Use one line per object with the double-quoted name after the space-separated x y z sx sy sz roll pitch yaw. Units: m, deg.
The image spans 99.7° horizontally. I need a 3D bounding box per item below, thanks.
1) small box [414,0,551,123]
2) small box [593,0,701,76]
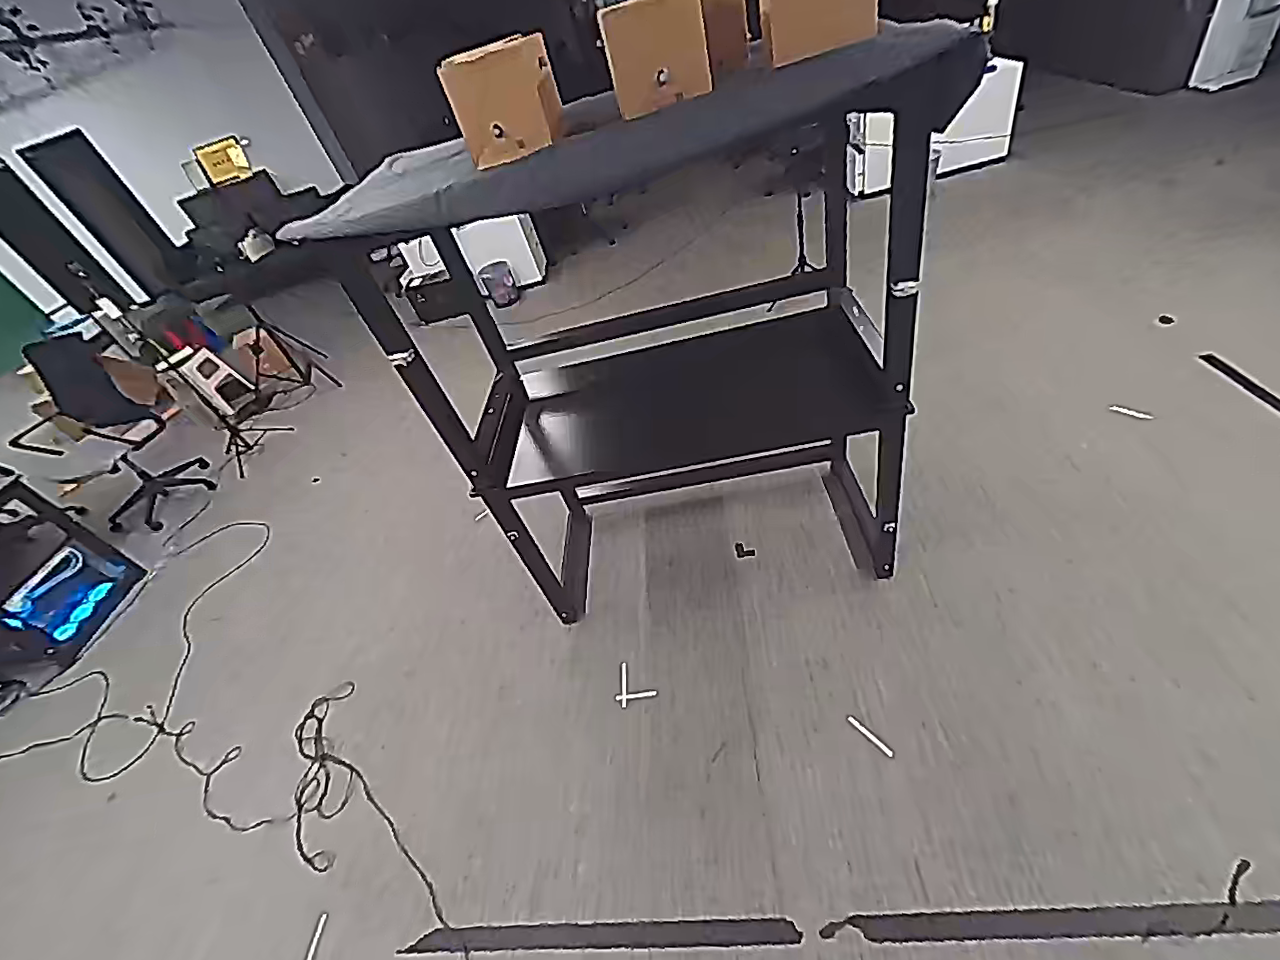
-0.276 -0.783 0.996 0.168 0.176 0.179 -8 42 12 "small box"
0.003 -0.840 0.954 0.168 0.176 0.179 -15 42 5 "small box"
